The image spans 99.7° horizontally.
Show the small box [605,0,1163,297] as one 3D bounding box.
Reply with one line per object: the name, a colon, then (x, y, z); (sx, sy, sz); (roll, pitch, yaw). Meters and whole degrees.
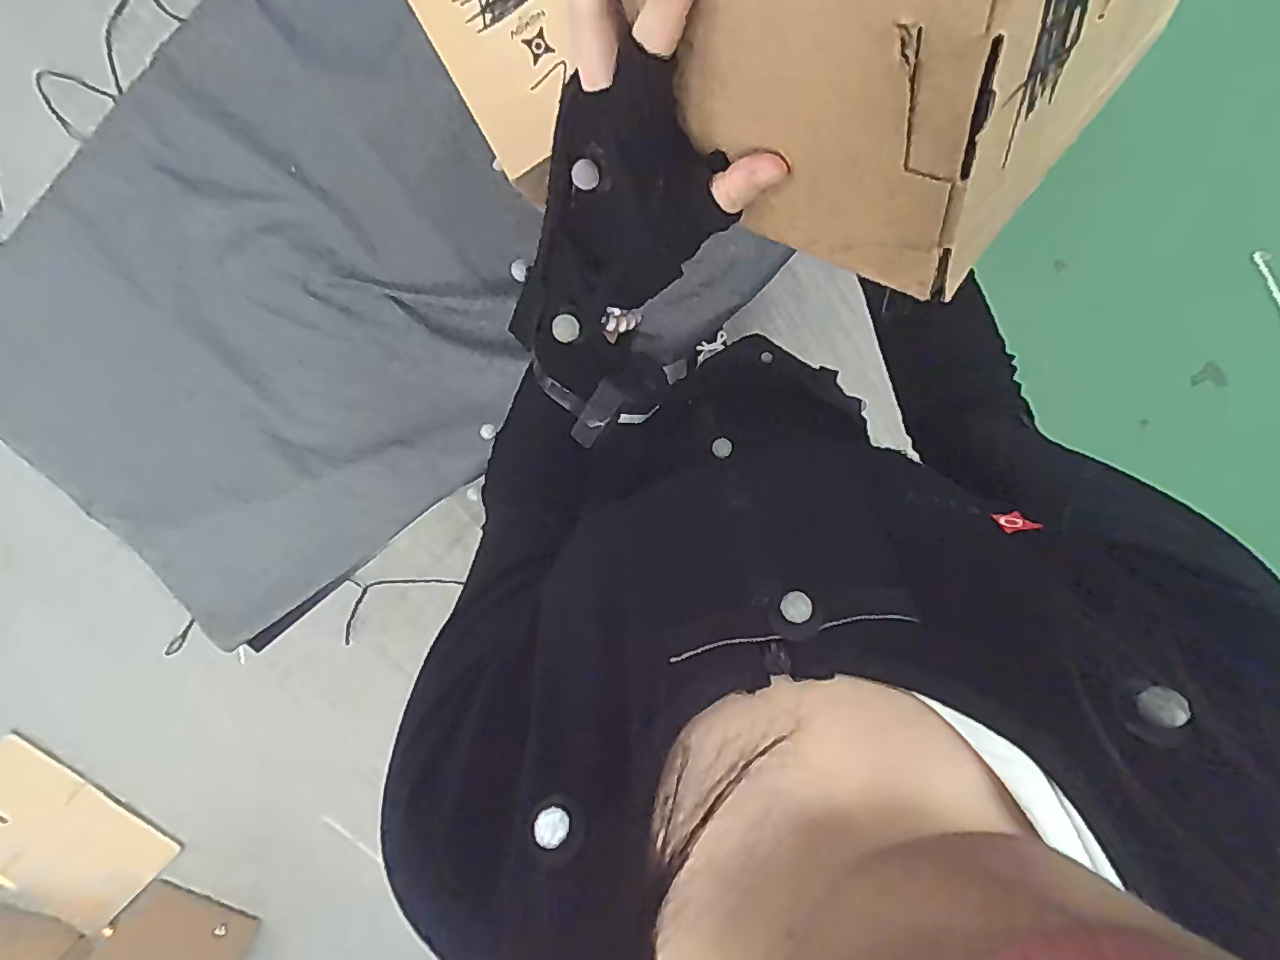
small box: (0.095, -0.216, 0.215); (0.176, 0.168, 0.179); (38, 84, 30)
